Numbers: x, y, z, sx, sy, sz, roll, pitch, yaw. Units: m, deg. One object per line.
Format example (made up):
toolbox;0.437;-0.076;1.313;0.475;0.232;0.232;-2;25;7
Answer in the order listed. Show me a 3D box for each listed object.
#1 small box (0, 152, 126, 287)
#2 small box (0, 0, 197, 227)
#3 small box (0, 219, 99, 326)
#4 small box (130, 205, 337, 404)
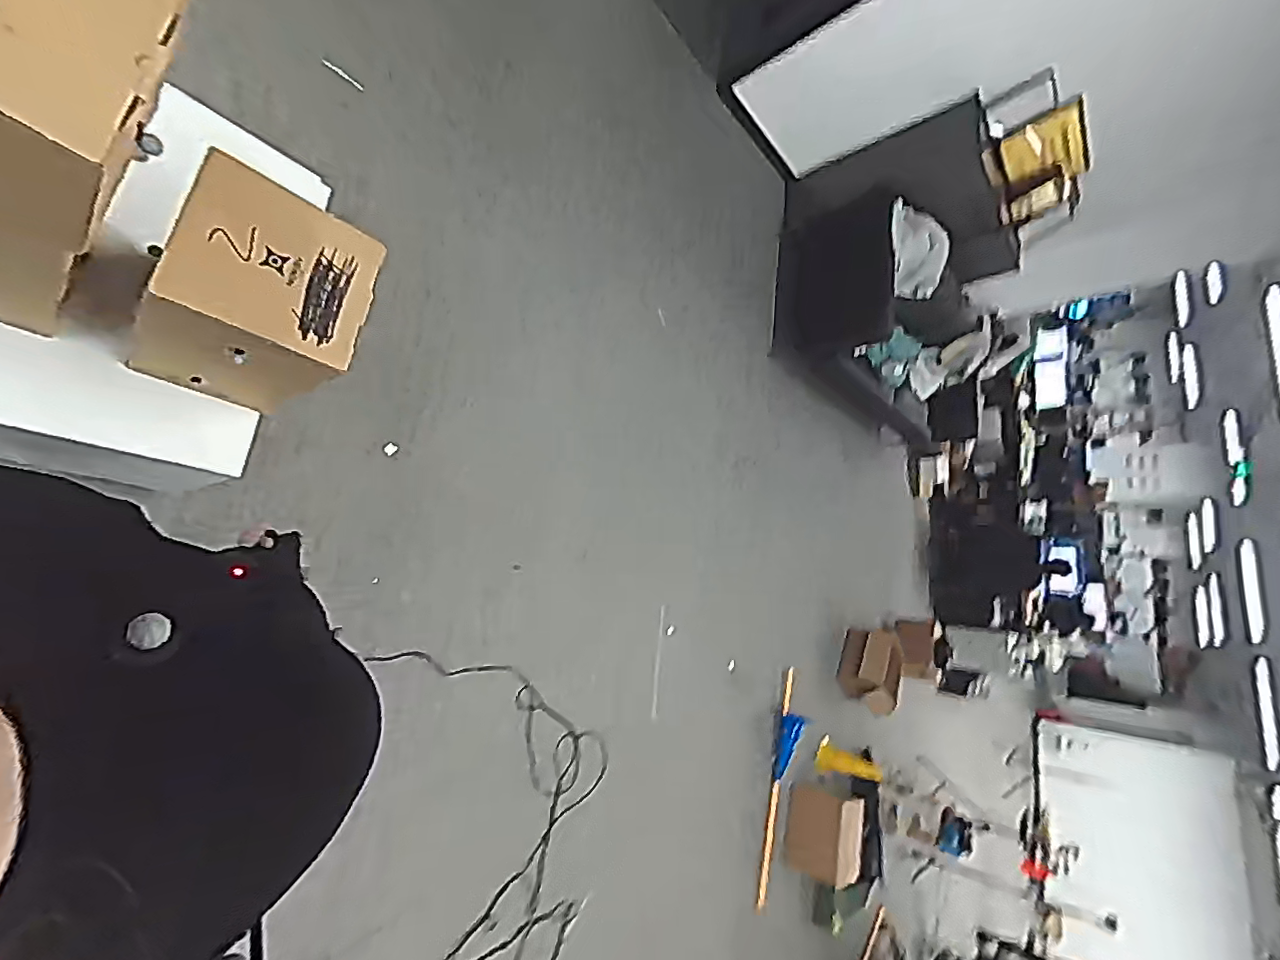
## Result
small box;-0.571;-0.300;0.463;0.168;0.176;0.179;24;69;-46
small box;-0.445;-0.298;0.355;0.179;0.176;0.168;26;67;-46
small box;-0.698;-0.289;0.566;0.168;0.176;0.179;23;71;-46
small box;-0.548;-0.220;0.729;0.168;0.176;0.179;24;70;-44
